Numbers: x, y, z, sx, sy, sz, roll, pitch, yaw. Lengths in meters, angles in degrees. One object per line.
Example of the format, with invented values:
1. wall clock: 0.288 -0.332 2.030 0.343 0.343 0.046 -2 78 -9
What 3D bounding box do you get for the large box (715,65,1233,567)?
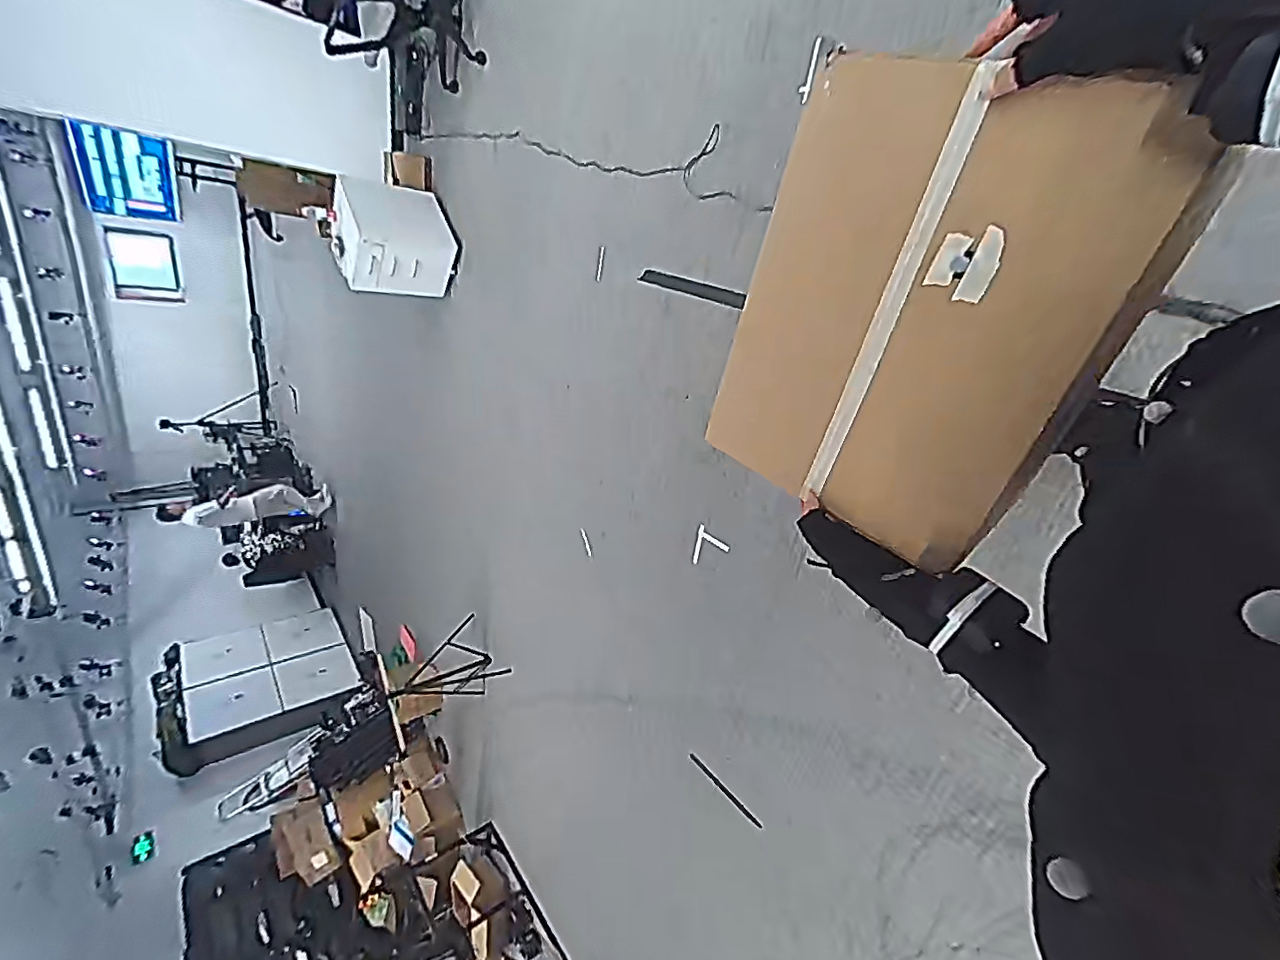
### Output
1. large box: 0.342 -0.182 0.622 0.320 0.320 0.408 35 125 33
